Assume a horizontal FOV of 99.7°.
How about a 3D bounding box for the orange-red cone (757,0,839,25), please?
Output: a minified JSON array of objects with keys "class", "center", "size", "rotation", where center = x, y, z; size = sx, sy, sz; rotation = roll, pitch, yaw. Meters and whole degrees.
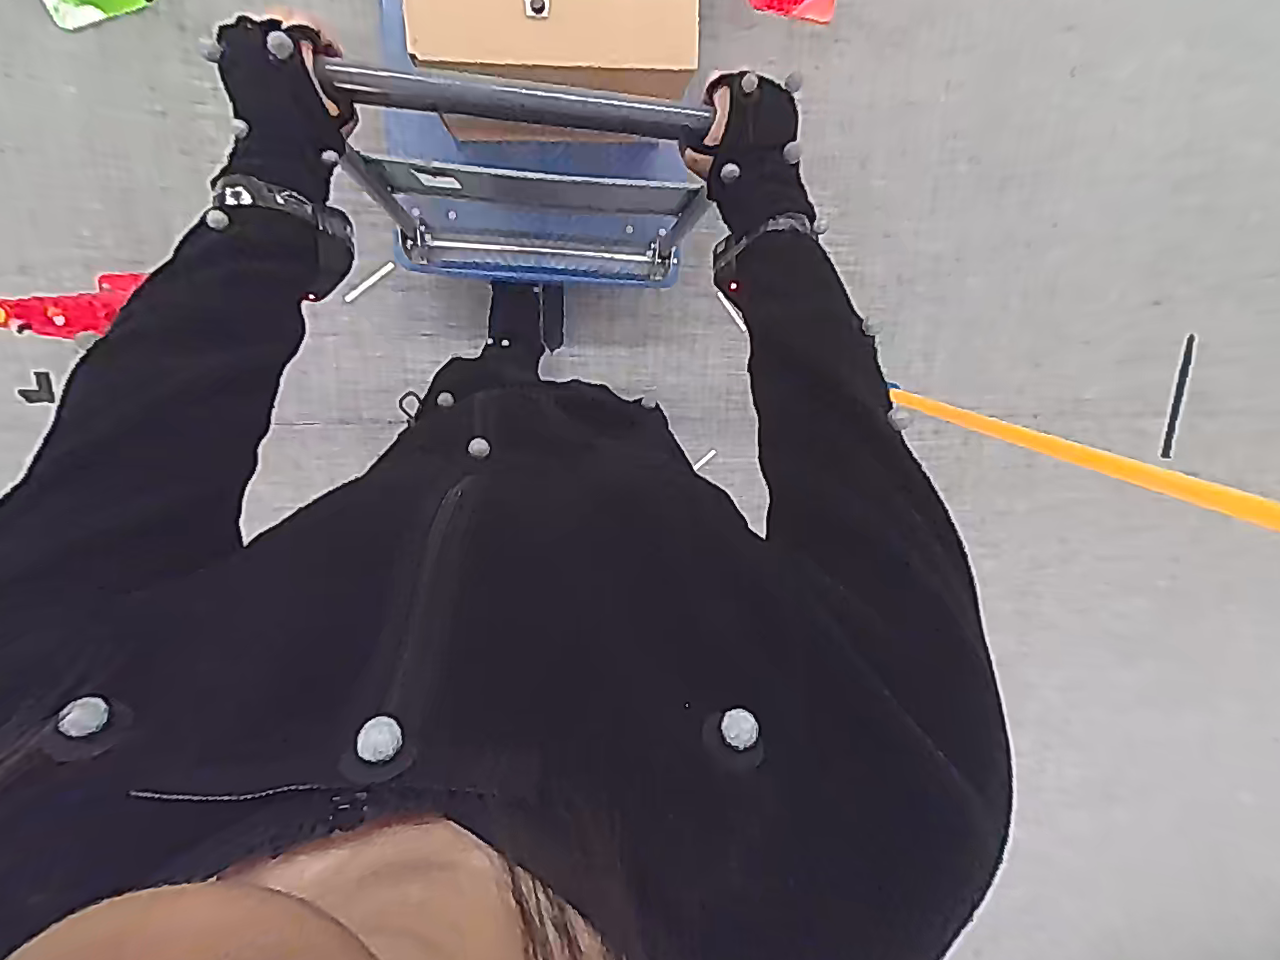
[{"class":"orange-red cone","center":[0.388,-1.098,1.035],"size":[0.199,0.360,0.198],"rotation":[5,103,-11]}]
